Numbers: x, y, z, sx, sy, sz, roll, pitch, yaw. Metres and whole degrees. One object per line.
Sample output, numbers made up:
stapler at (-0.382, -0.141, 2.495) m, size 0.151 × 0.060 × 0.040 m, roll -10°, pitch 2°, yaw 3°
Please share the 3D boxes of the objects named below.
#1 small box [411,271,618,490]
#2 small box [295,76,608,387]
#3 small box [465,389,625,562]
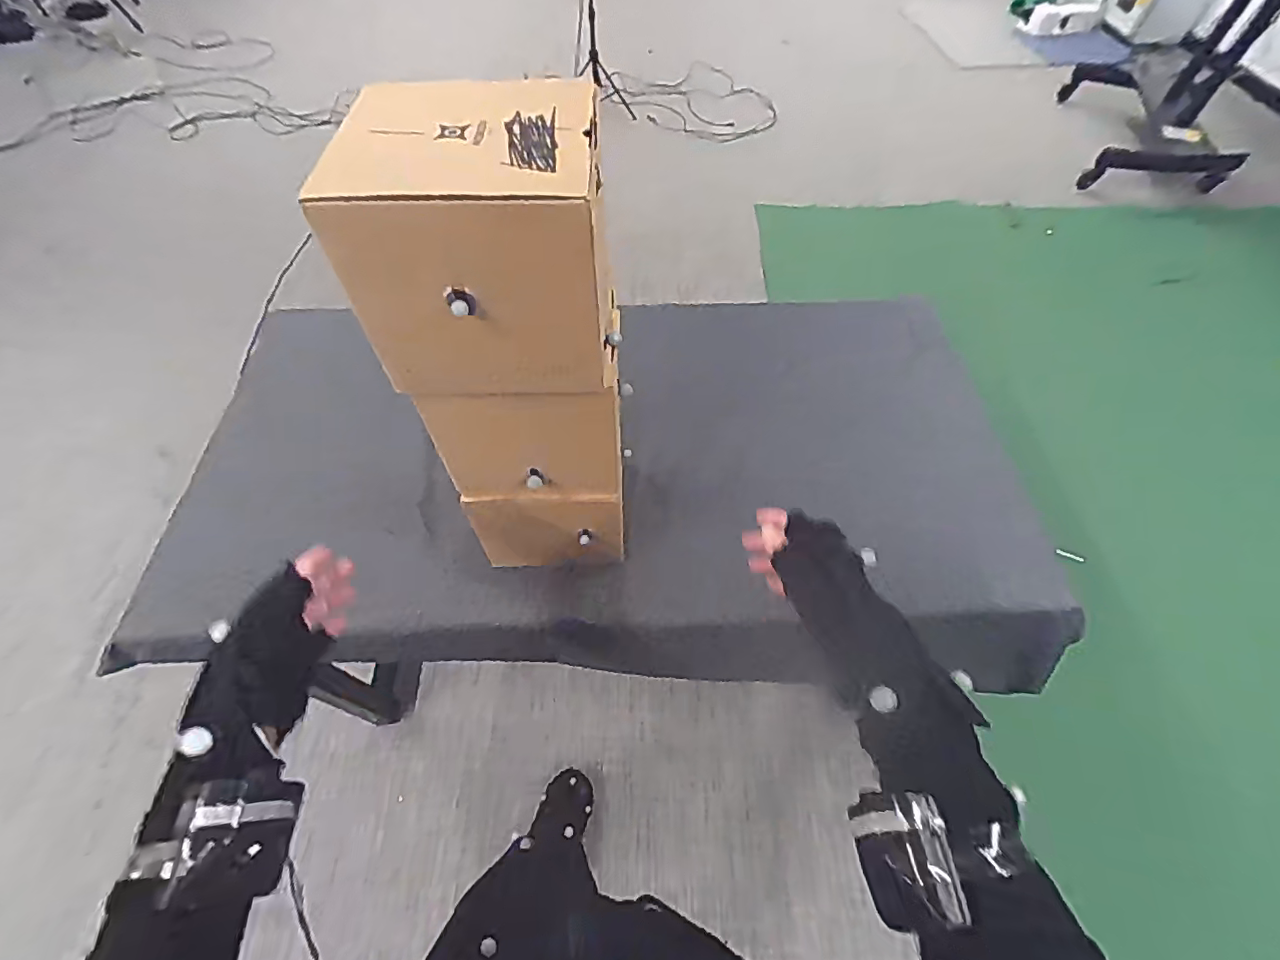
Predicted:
small box at (-0.111, -0.100, 0.572) m, size 0.179 × 0.176 × 0.168 m, roll -1°, pitch 55°, yaw -1°
small box at (-0.118, -0.189, 0.432) m, size 0.179 × 0.176 × 0.168 m, roll 1°, pitch 55°, yaw 1°
small box at (-0.108, -0.004, 0.705) m, size 0.179 × 0.176 × 0.168 m, roll -3°, pitch 56°, yaw 0°
